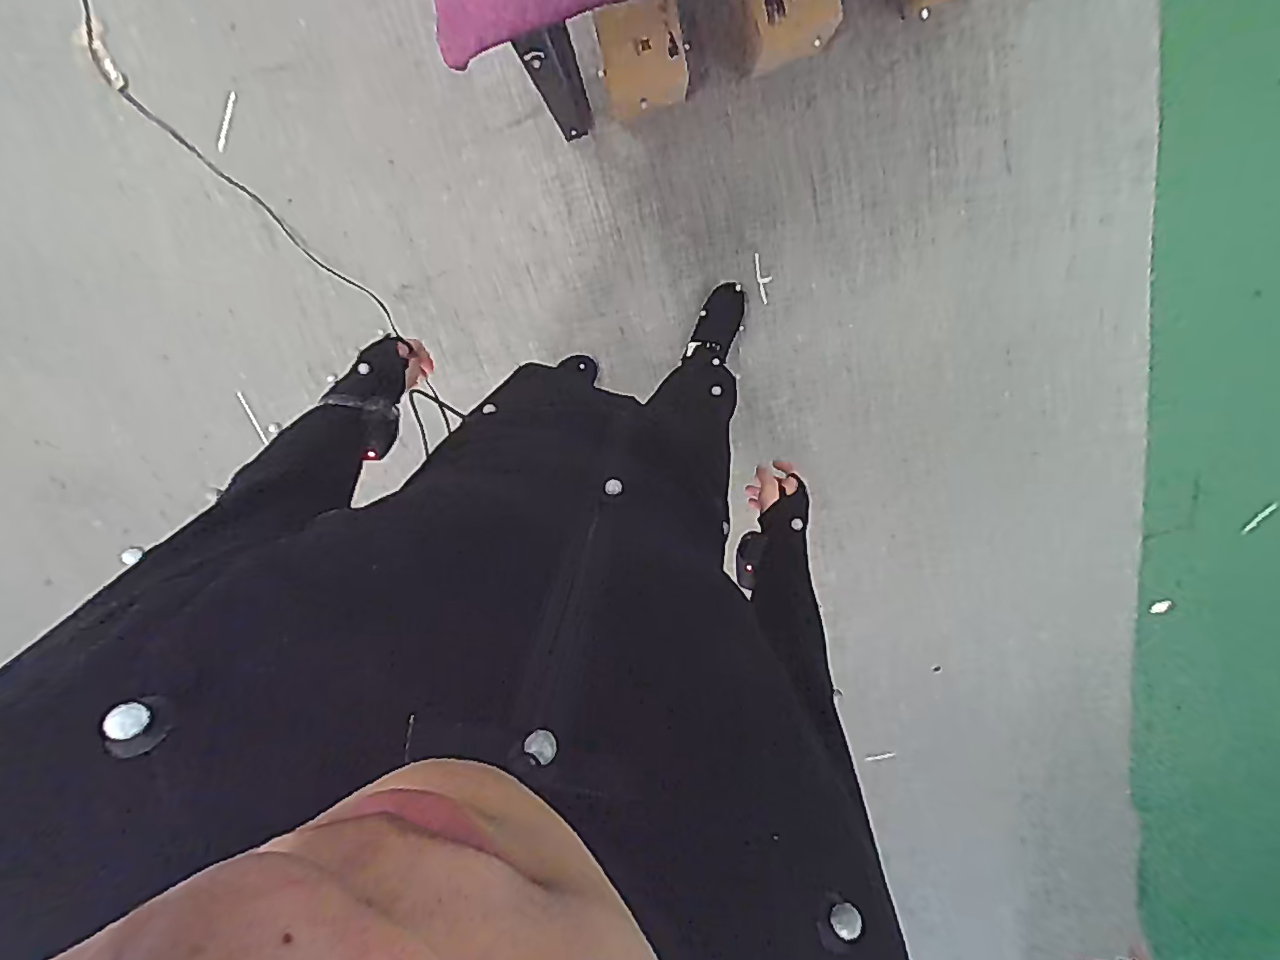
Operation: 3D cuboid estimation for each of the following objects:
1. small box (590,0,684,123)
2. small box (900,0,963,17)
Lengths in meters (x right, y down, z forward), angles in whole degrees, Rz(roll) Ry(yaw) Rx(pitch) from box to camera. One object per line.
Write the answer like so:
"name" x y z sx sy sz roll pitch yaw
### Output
"small box" -0.002 -0.936 1.220 0.179 0.176 0.168 -12 108 5
"small box" 0.655 -1.125 1.137 0.168 0.176 0.179 -18 107 7
